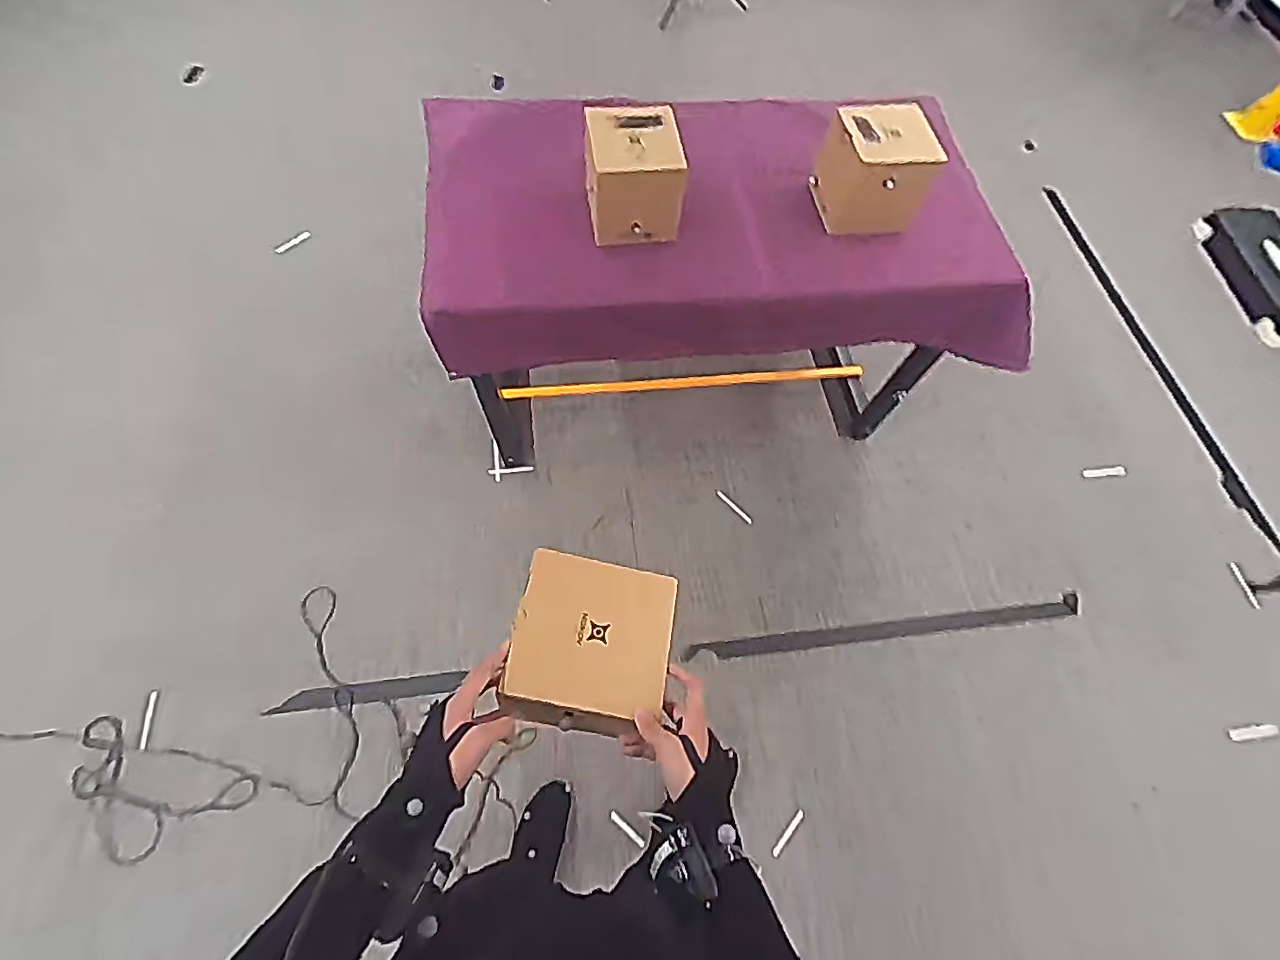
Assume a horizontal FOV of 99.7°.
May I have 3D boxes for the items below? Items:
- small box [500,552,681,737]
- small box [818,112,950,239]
[{"bbox_3d":[-0.061,0.210,0.664,0.179,0.176,0.168,13,58,-4],"label":"small box"},{"bbox_3d":[0.484,-0.619,1.110,0.179,0.176,0.168,-5,66,-6],"label":"small box"}]
